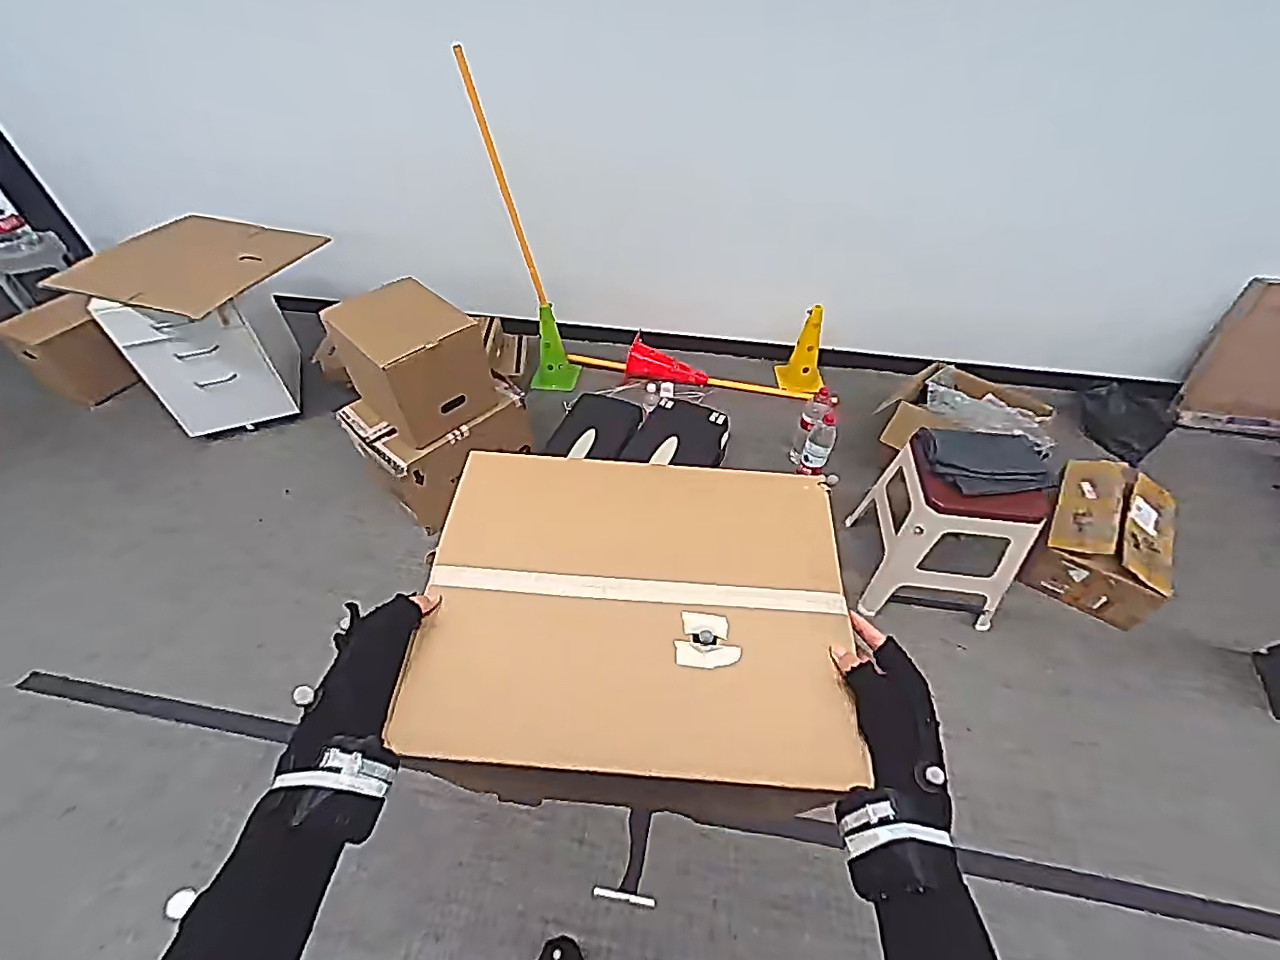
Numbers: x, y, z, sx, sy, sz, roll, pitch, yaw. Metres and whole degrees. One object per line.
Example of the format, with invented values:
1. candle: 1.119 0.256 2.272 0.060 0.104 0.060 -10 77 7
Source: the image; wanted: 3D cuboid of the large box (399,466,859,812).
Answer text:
1. large box: -0.008 0.206 0.664 0.408 0.320 0.320 4 55 1
